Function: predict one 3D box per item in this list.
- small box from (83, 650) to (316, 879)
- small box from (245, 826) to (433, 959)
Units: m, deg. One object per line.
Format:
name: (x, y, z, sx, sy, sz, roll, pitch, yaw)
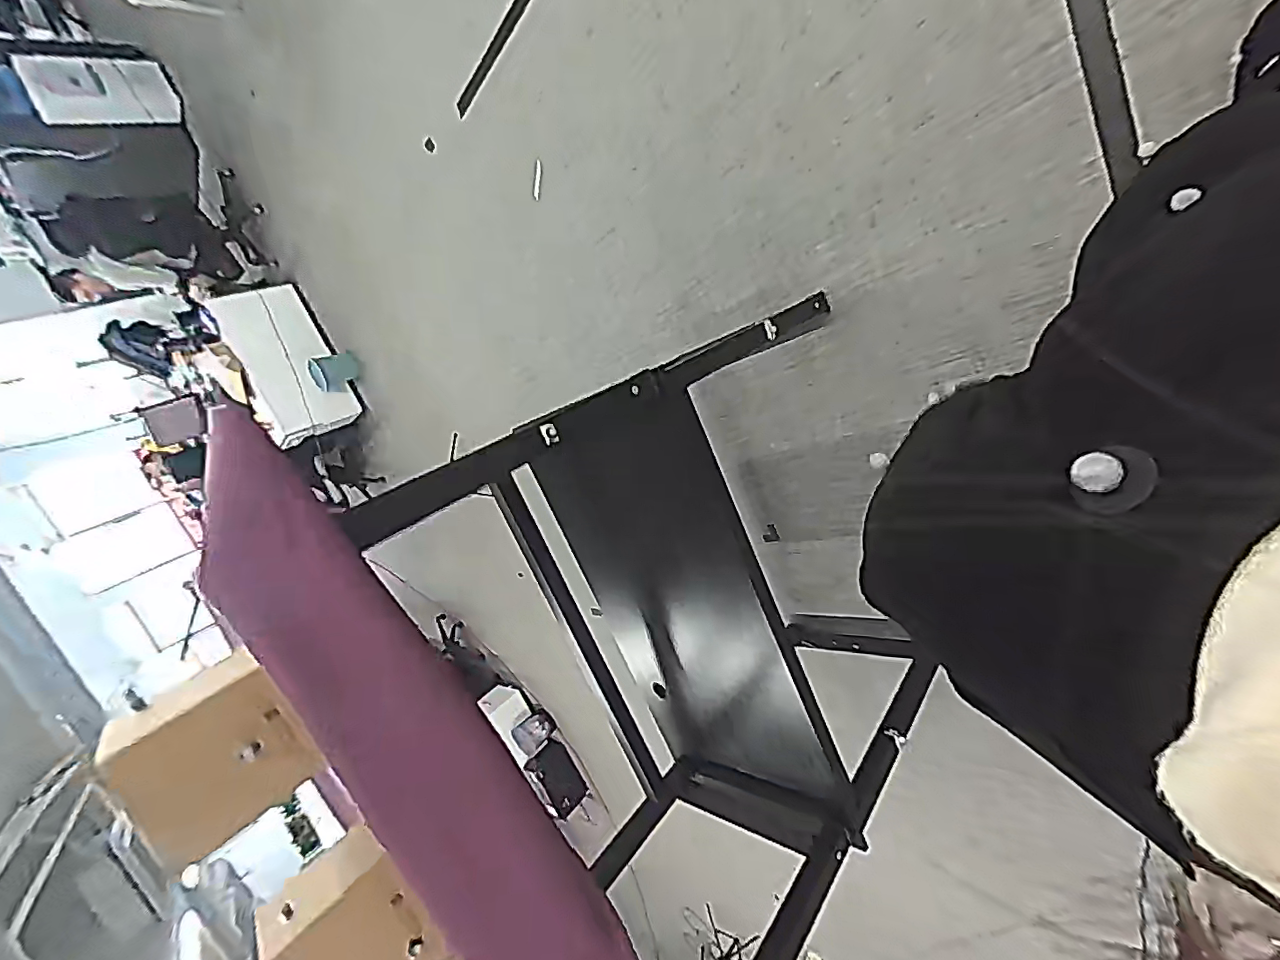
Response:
small box: (-0.550, 0.343, 0.694, 0.179, 0.176, 0.168, -6, 112, 48)
small box: (-0.423, 0.640, 0.771, 0.179, 0.176, 0.168, -19, 101, 51)
